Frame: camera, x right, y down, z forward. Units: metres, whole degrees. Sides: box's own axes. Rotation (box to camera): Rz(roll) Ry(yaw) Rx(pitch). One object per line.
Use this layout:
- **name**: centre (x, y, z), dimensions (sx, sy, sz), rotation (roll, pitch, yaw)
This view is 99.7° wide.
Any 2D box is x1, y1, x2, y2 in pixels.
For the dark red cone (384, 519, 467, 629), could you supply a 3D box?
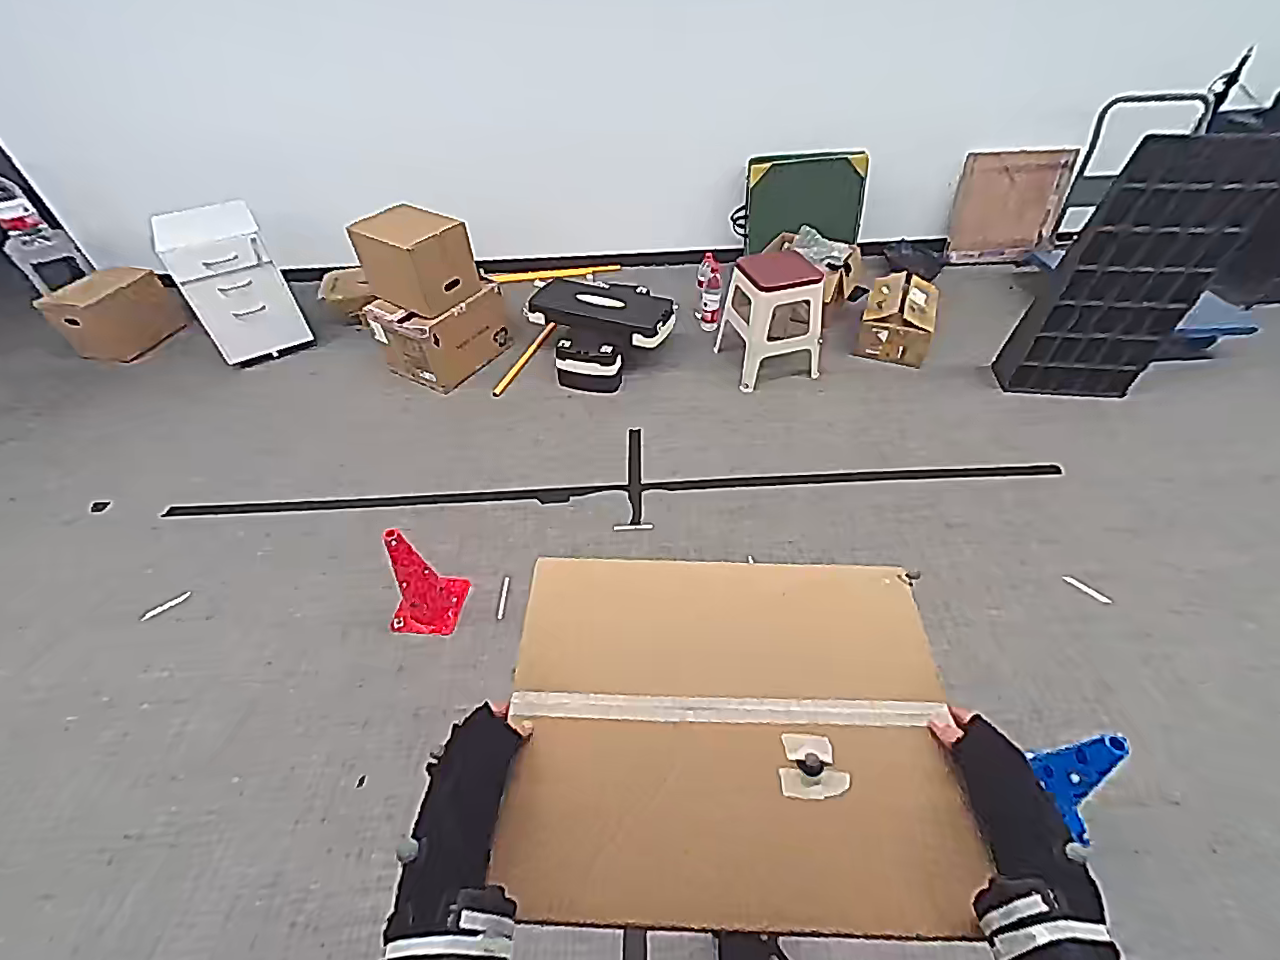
- **dark red cone**: centre (-0.656, 0.256, 1.561), dimensions (0.201, 0.394, 0.202), rotation (3, 46, 4)

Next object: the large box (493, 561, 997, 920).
- **large box**: centre (0.082, 0.308, 0.627), dimensions (0.408, 0.320, 0.320), rotation (2, 52, 1)

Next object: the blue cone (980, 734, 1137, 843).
- **blue cone**: centre (0.922, 0.632, 1.163), dimensions (0.192, 0.380, 0.193), rotation (1, 46, 2)
